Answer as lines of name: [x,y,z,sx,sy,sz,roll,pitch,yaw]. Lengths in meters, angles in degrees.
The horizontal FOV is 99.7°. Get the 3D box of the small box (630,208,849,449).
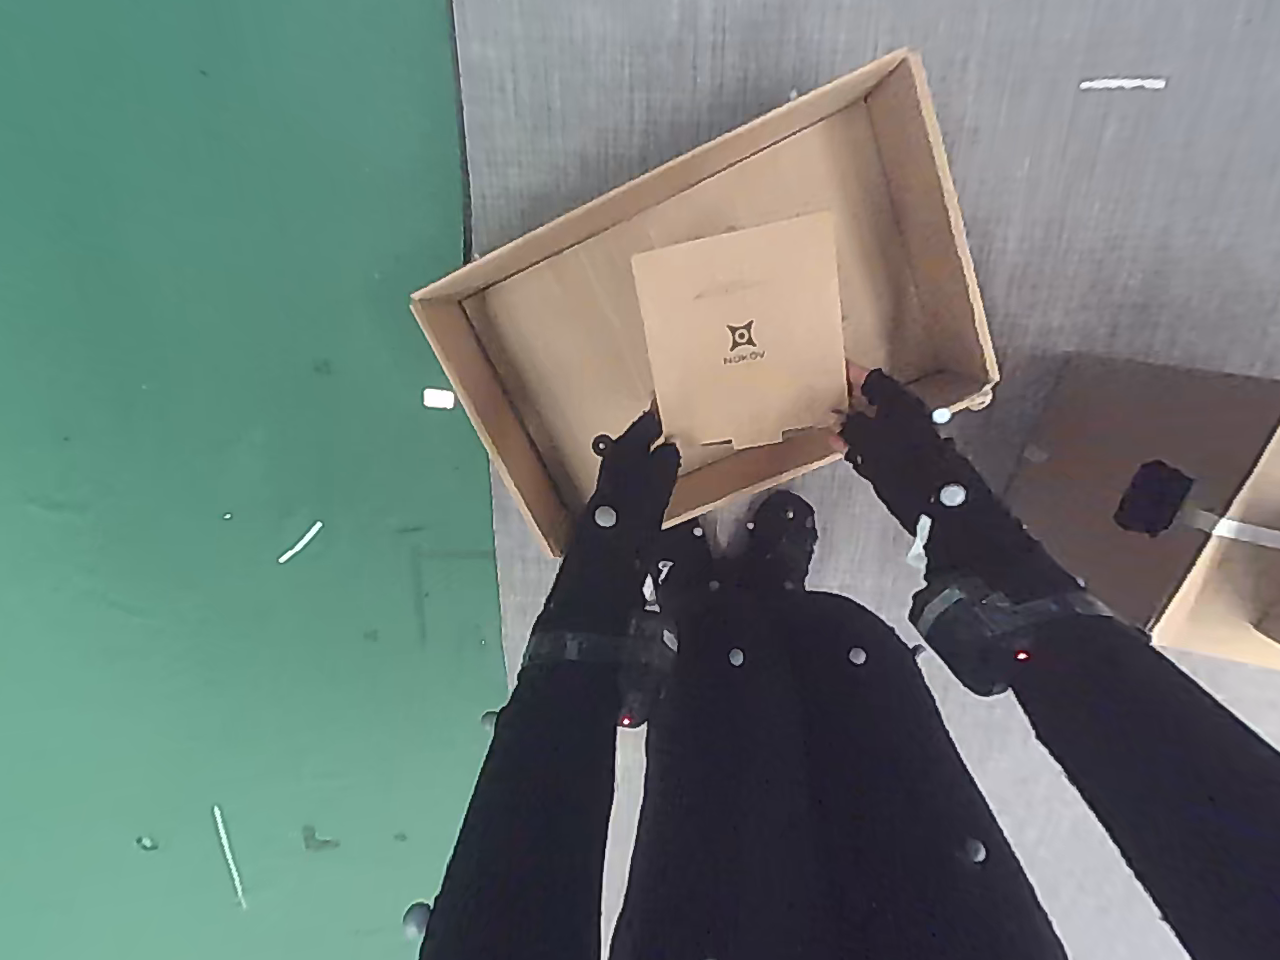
small box: [0.097,-0.147,0.538,0.168,0.176,0.179,-10,106,9]
